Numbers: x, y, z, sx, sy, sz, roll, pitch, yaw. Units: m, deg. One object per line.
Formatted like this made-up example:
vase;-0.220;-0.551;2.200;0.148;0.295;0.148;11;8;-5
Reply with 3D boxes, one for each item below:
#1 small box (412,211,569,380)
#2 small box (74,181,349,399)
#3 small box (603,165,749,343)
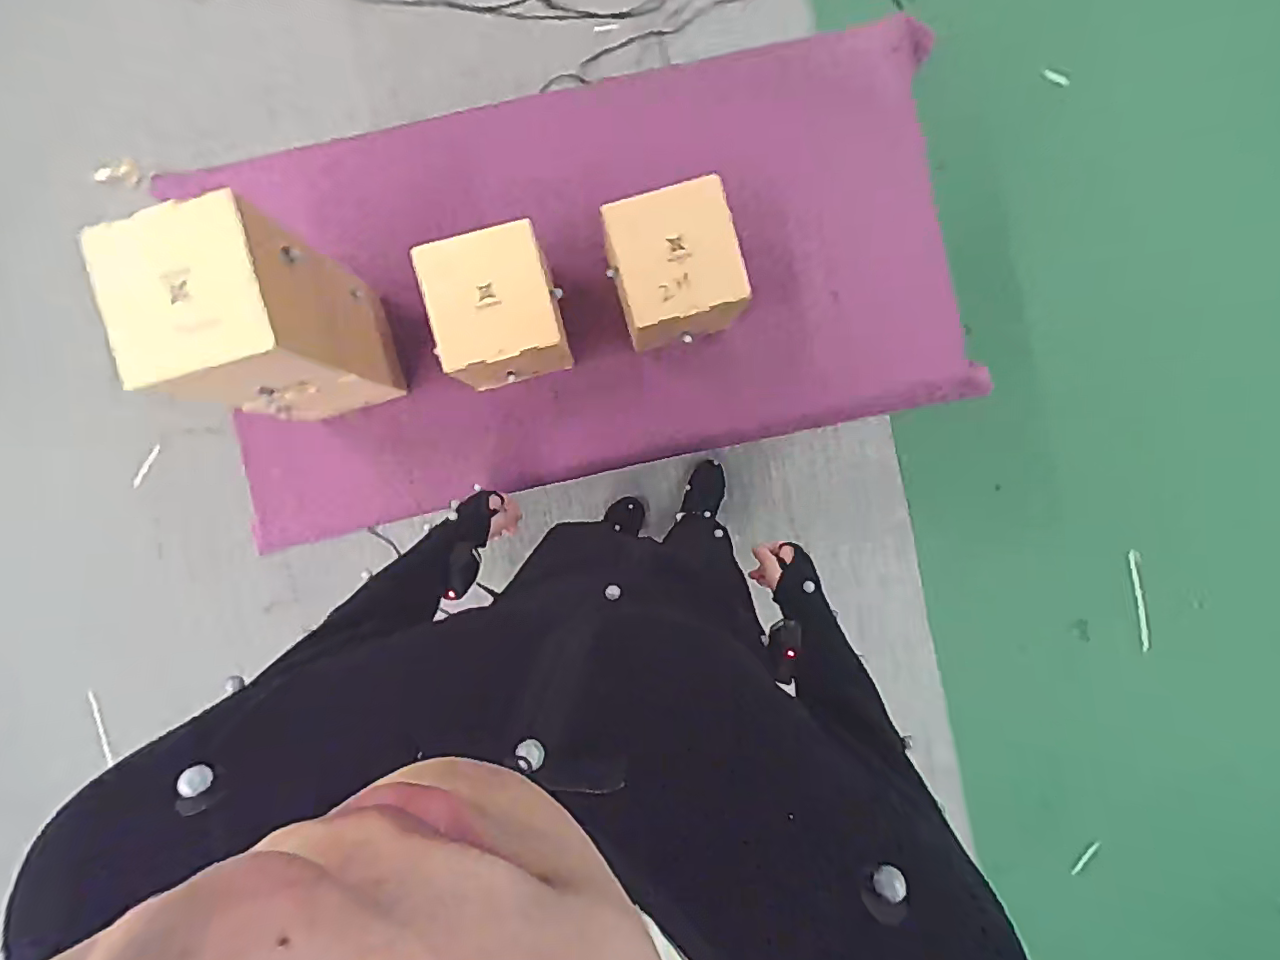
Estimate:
small box;-0.211;-0.263;0.809;0.168;0.176;0.179;-15;93;-1
small box;-0.482;-0.207;0.637;0.168;0.176;0.179;-16;92;-1
small box;0.046;-0.326;0.811;0.168;0.176;0.179;-16;93;0
